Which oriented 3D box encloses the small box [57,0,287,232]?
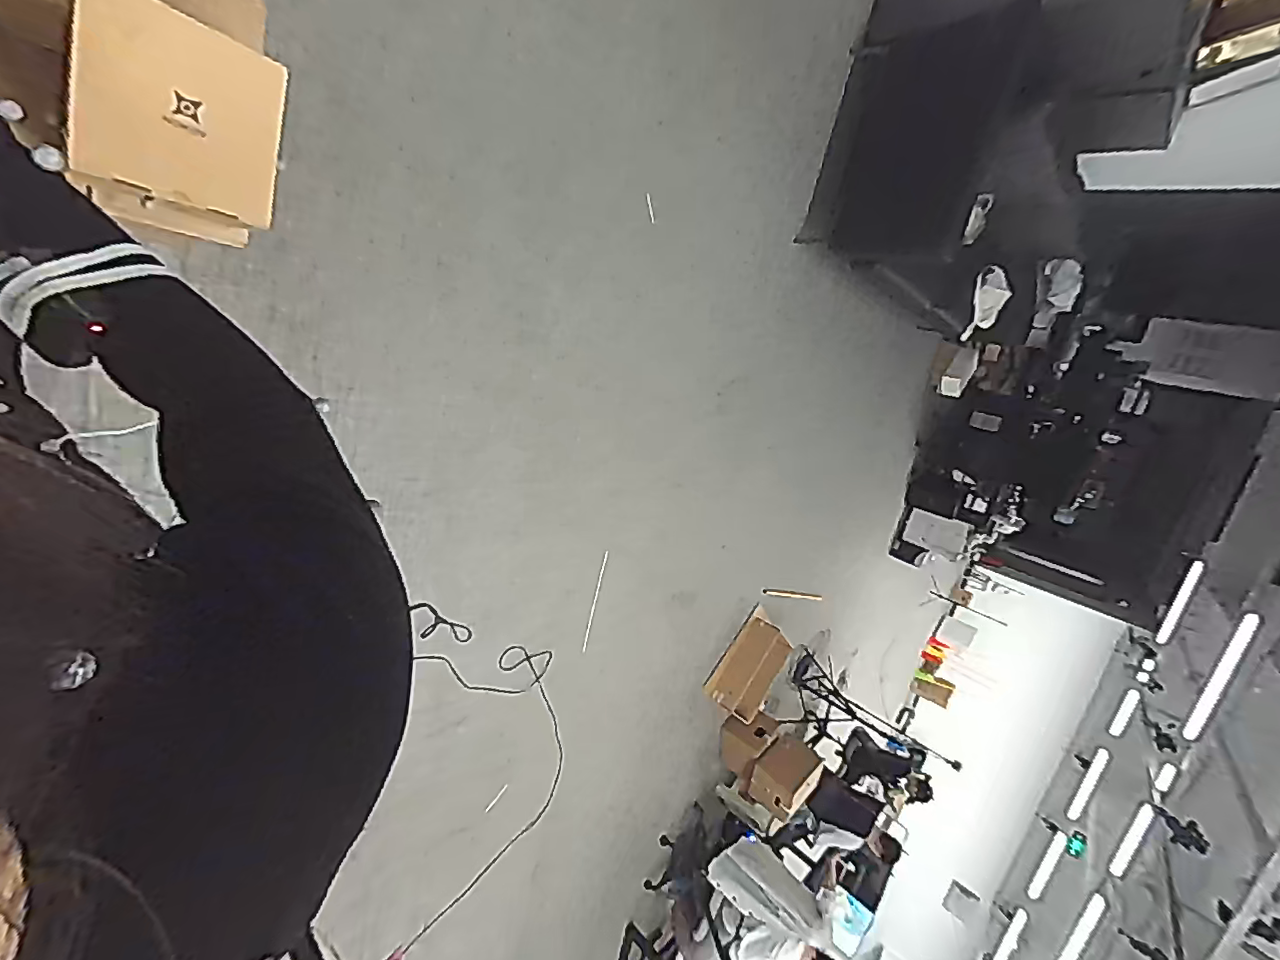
[{"bbox_3d":[-0.525,-0.401,0.605,0.168,0.176,0.179,2,108,-49],"label":"small box"}]
